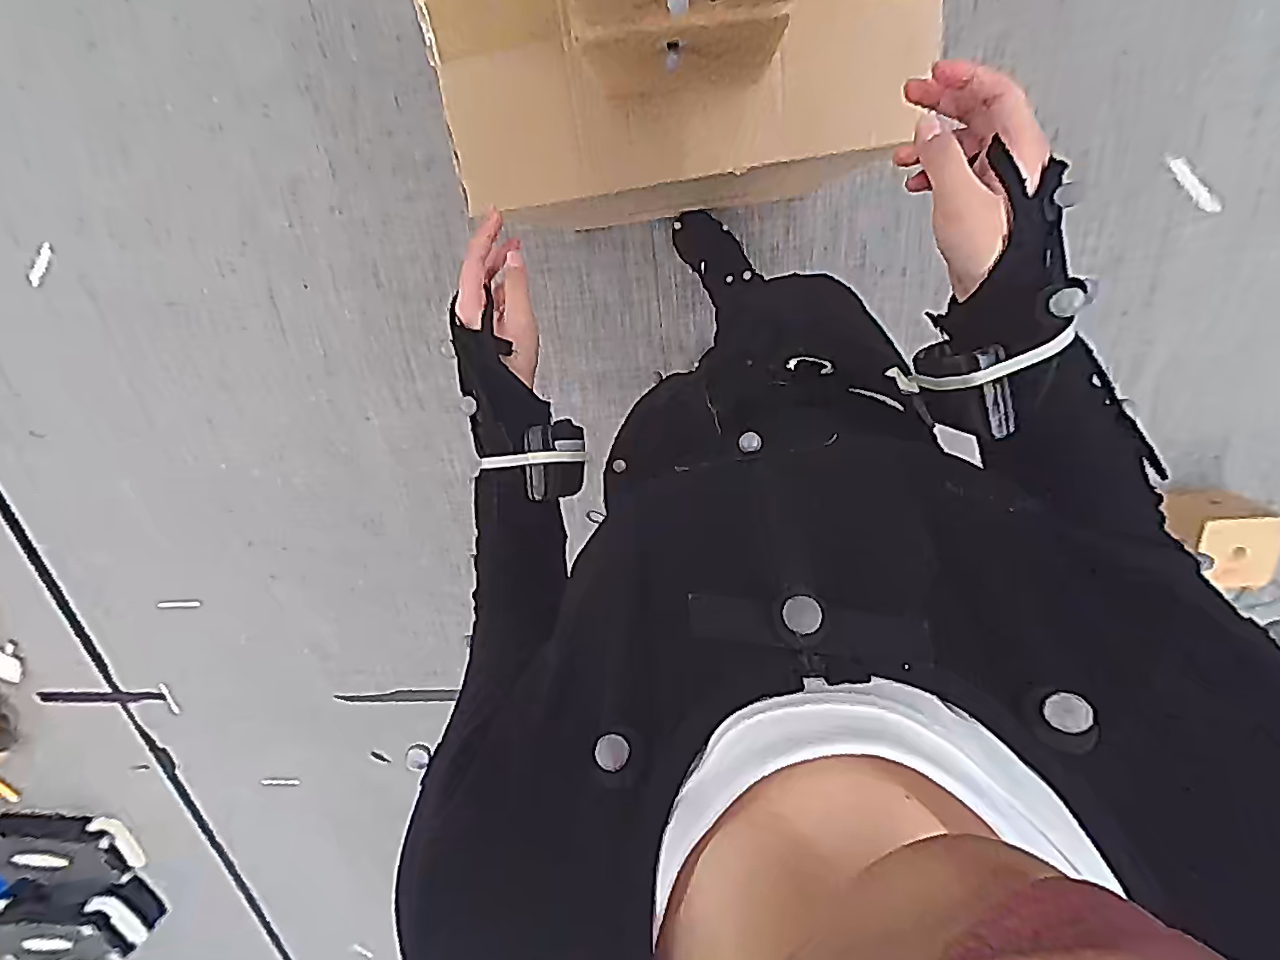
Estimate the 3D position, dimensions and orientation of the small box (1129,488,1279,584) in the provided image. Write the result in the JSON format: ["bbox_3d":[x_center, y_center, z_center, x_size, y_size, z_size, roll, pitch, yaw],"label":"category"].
[{"bbox_3d":[1.307,0.124,1.269,0.168,0.176,0.179,-3,112,7],"label":"small box"}]

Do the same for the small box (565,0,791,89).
[{"bbox_3d":[0.030,-0.460,0.463,0.179,0.176,0.168,-2,113,7],"label":"small box"}]

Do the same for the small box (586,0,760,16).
[{"bbox_3d":[0.021,-0.410,0.306,0.168,0.176,0.179,-1,114,6],"label":"small box"}]
